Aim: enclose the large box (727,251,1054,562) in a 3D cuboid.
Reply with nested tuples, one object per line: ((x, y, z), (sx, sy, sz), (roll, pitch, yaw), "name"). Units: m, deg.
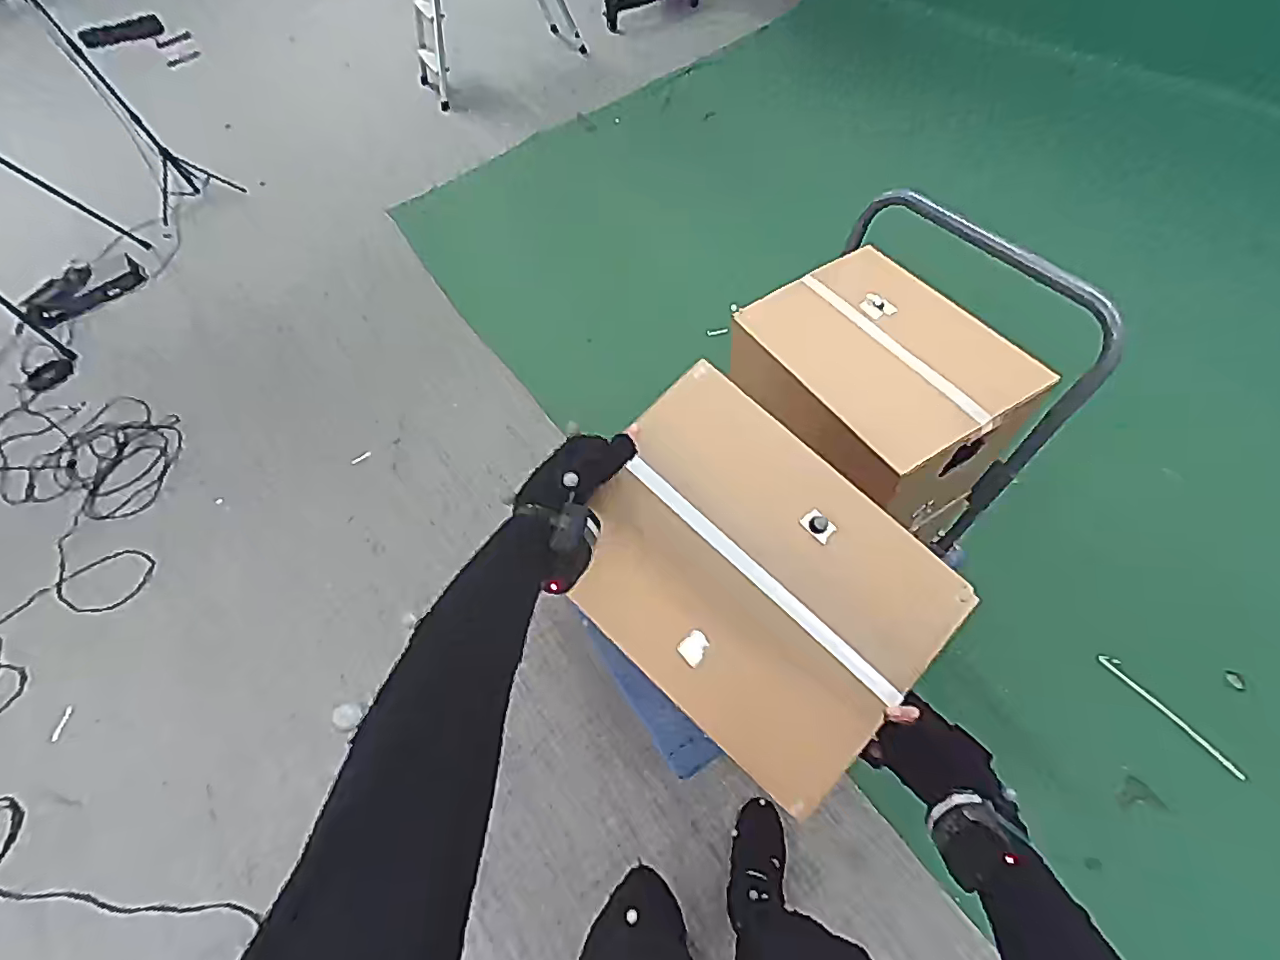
((0.398, -0.132, 0.985), (0.320, 0.320, 0.408), (-29, 58, -11), "large box")
